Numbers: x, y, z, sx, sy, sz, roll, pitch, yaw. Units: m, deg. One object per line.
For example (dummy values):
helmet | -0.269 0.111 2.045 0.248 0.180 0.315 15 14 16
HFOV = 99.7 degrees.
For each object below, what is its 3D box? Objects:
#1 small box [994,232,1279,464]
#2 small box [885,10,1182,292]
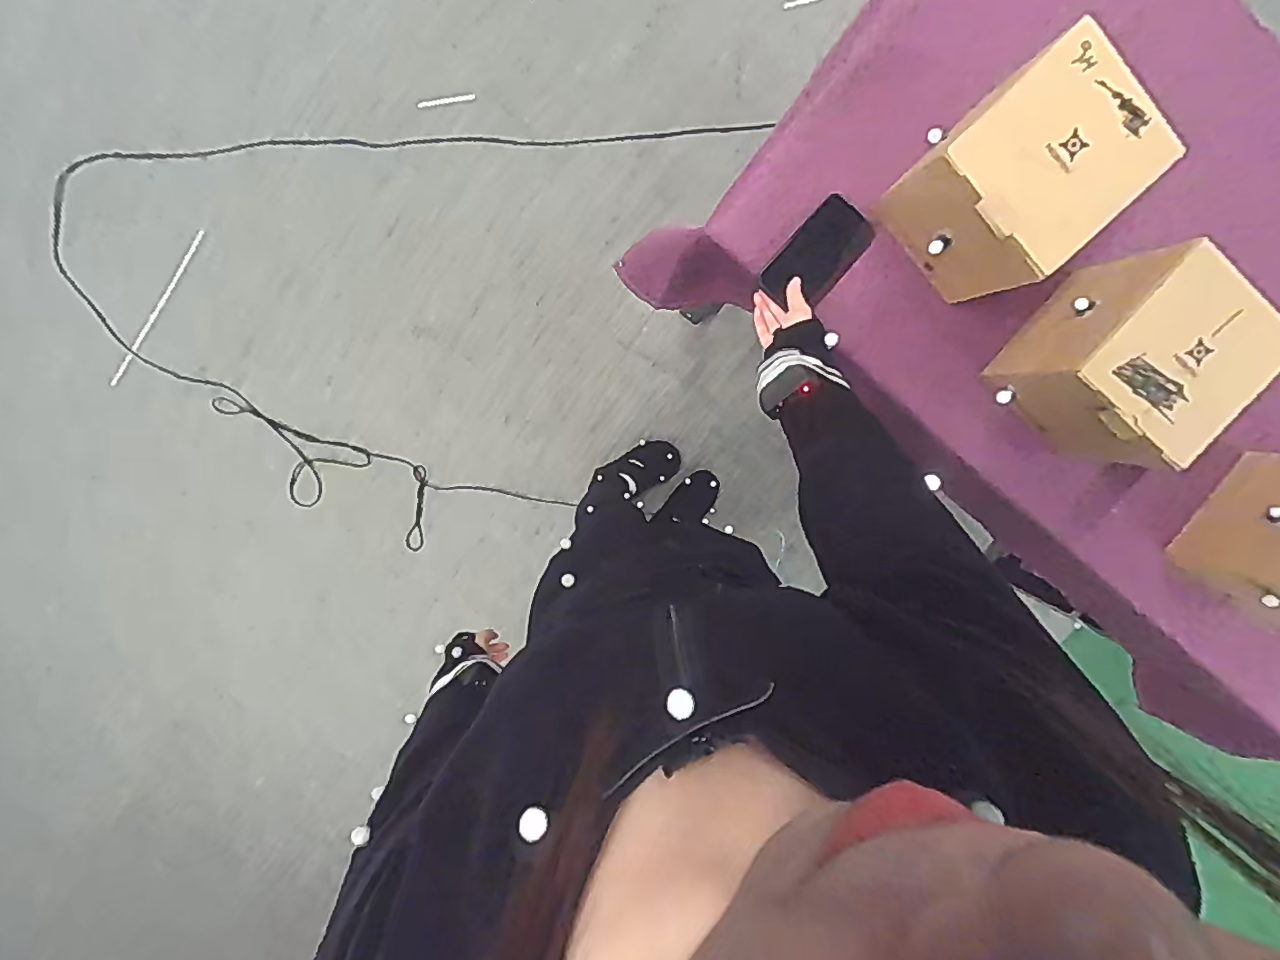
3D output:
small box | 0.561 -0.143 0.631 0.168 0.176 0.179 39 97 -7
small box | 0.404 -0.334 0.597 0.179 0.176 0.168 -43 98 7
